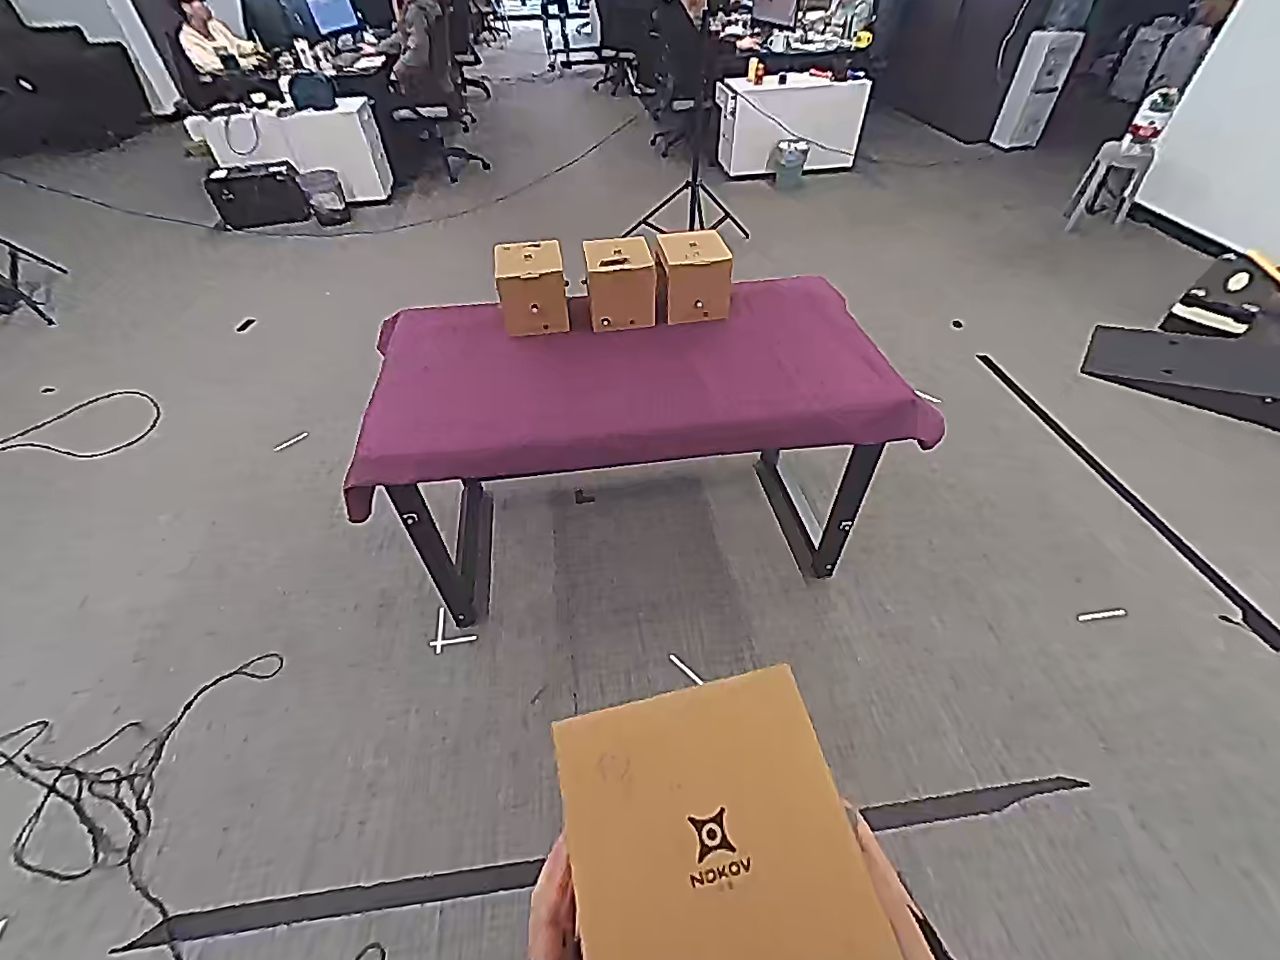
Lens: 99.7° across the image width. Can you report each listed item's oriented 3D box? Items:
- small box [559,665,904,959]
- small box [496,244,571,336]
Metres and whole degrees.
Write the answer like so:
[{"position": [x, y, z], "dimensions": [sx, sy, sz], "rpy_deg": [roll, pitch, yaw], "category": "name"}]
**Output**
[{"position": [0.042, 0.256, 0.381], "dimensions": [0.168, 0.176, 0.179], "rpy_deg": [-11, 56, -9], "category": "small box"}, {"position": [-0.277, -0.490, 1.413], "dimensions": [0.168, 0.176, 0.179], "rpy_deg": [-8, 49, -6], "category": "small box"}]
